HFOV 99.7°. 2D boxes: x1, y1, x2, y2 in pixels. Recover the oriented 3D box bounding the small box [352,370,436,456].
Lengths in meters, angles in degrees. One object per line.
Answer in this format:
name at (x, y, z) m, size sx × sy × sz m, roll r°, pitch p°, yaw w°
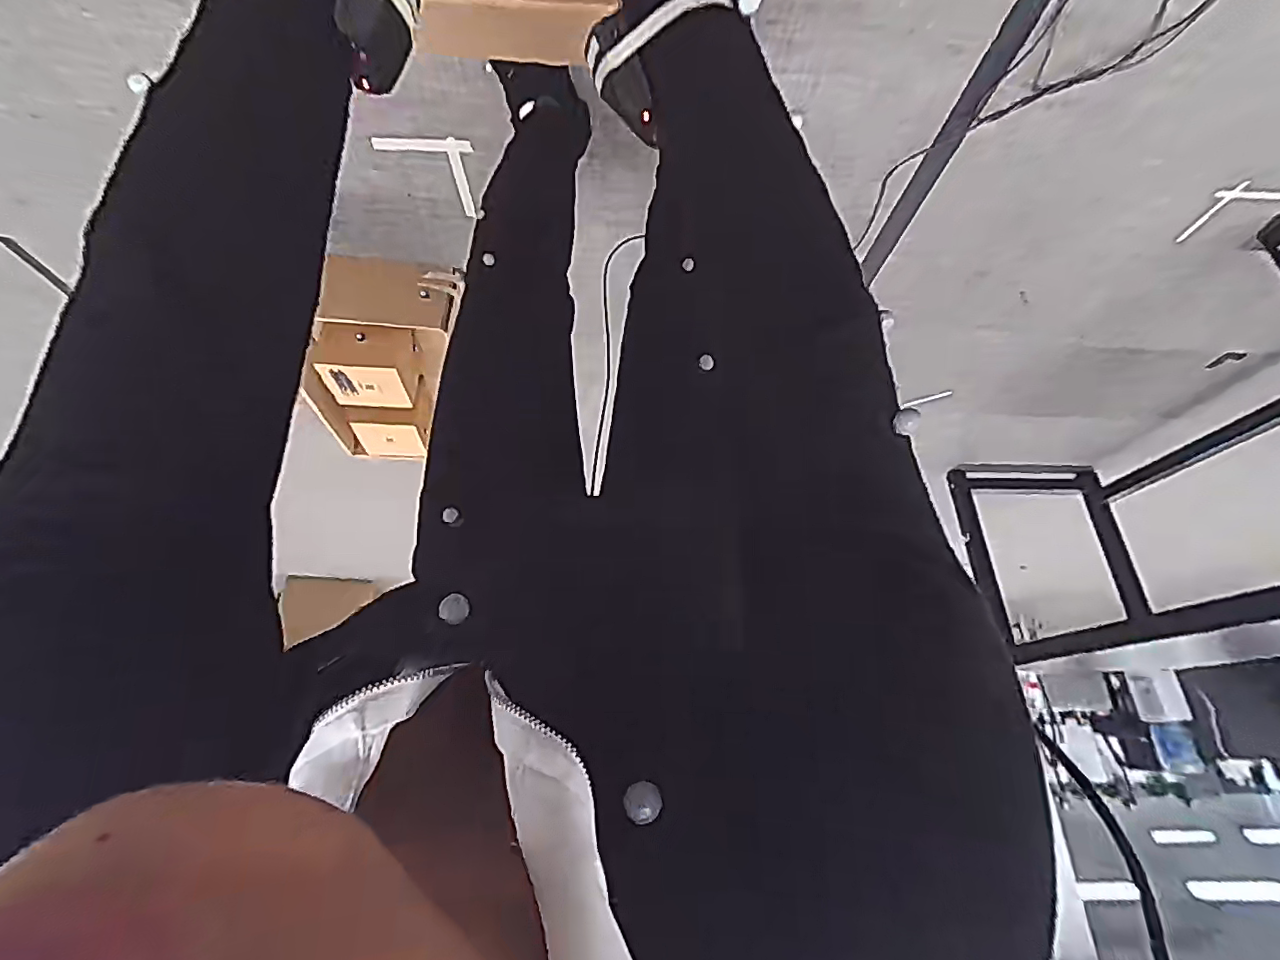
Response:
small box at (-0.682, -0.185, 1.519) m, size 0.168 × 0.176 × 0.179 m, roll 1°, pitch 153°, yaw -8°
